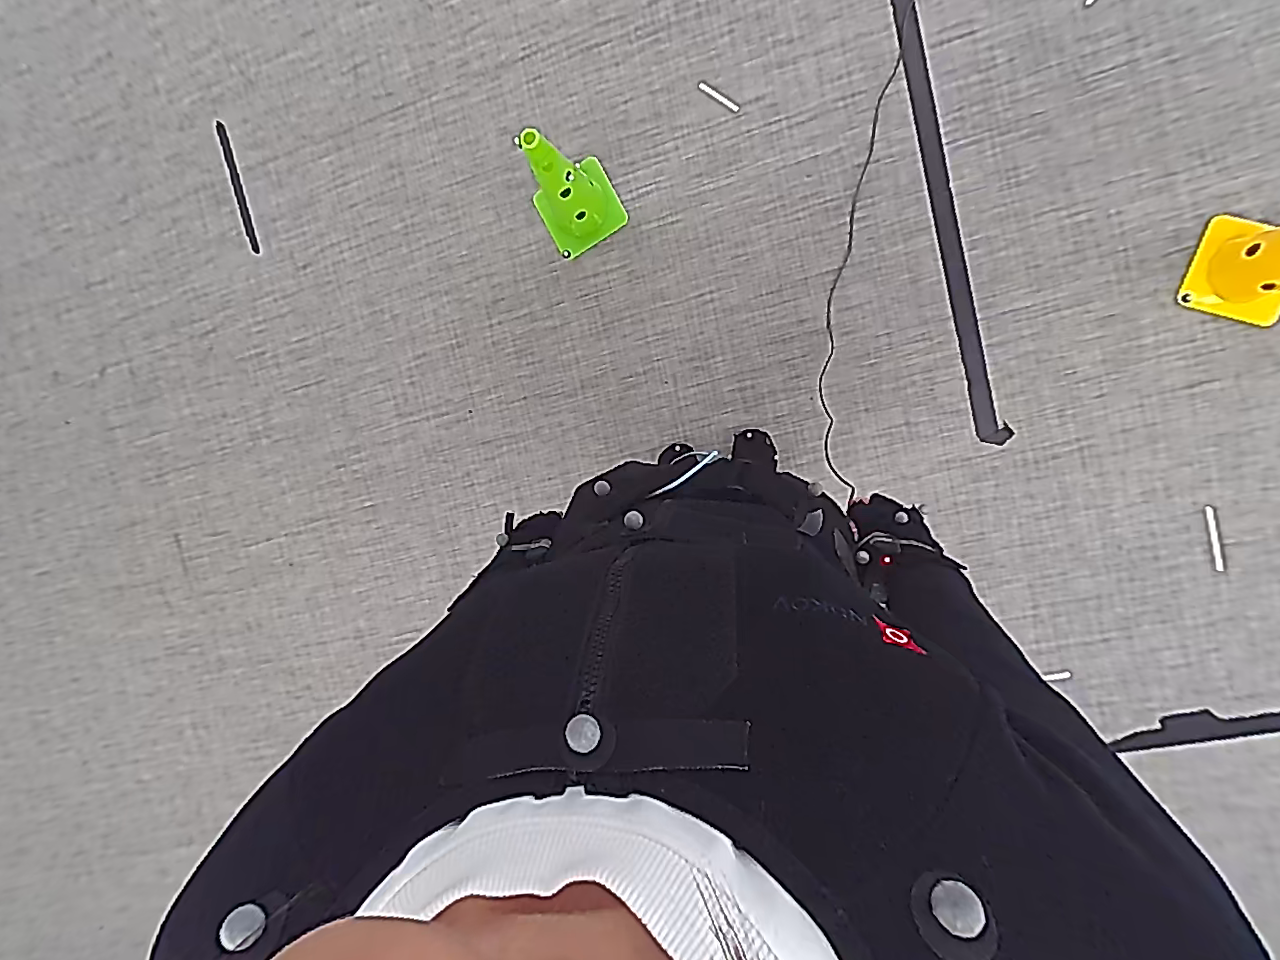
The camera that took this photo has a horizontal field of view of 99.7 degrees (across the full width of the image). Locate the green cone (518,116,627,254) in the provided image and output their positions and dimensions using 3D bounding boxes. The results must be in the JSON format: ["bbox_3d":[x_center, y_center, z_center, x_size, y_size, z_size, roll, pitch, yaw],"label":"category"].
[{"bbox_3d":[-0.186,-0.706,1.238,0.200,0.368,0.202,-29,88,11],"label":"green cone"}]
